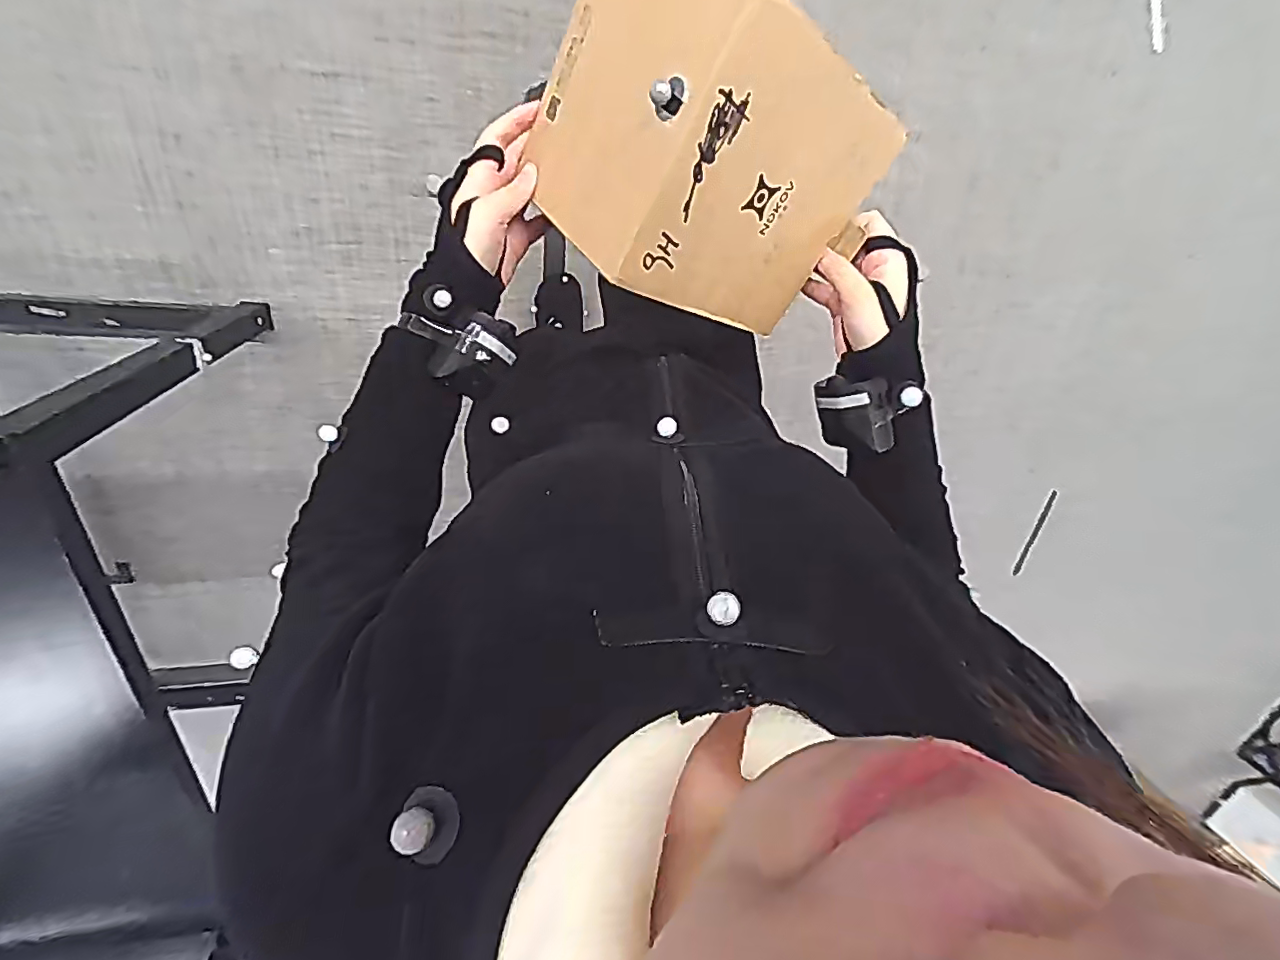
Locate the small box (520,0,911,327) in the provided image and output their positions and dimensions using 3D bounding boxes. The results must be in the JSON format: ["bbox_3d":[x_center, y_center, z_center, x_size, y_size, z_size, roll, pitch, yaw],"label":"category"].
[{"bbox_3d":[0.045,-0.239,0.389,0.179,0.176,0.168,1,130,-44],"label":"small box"}]
